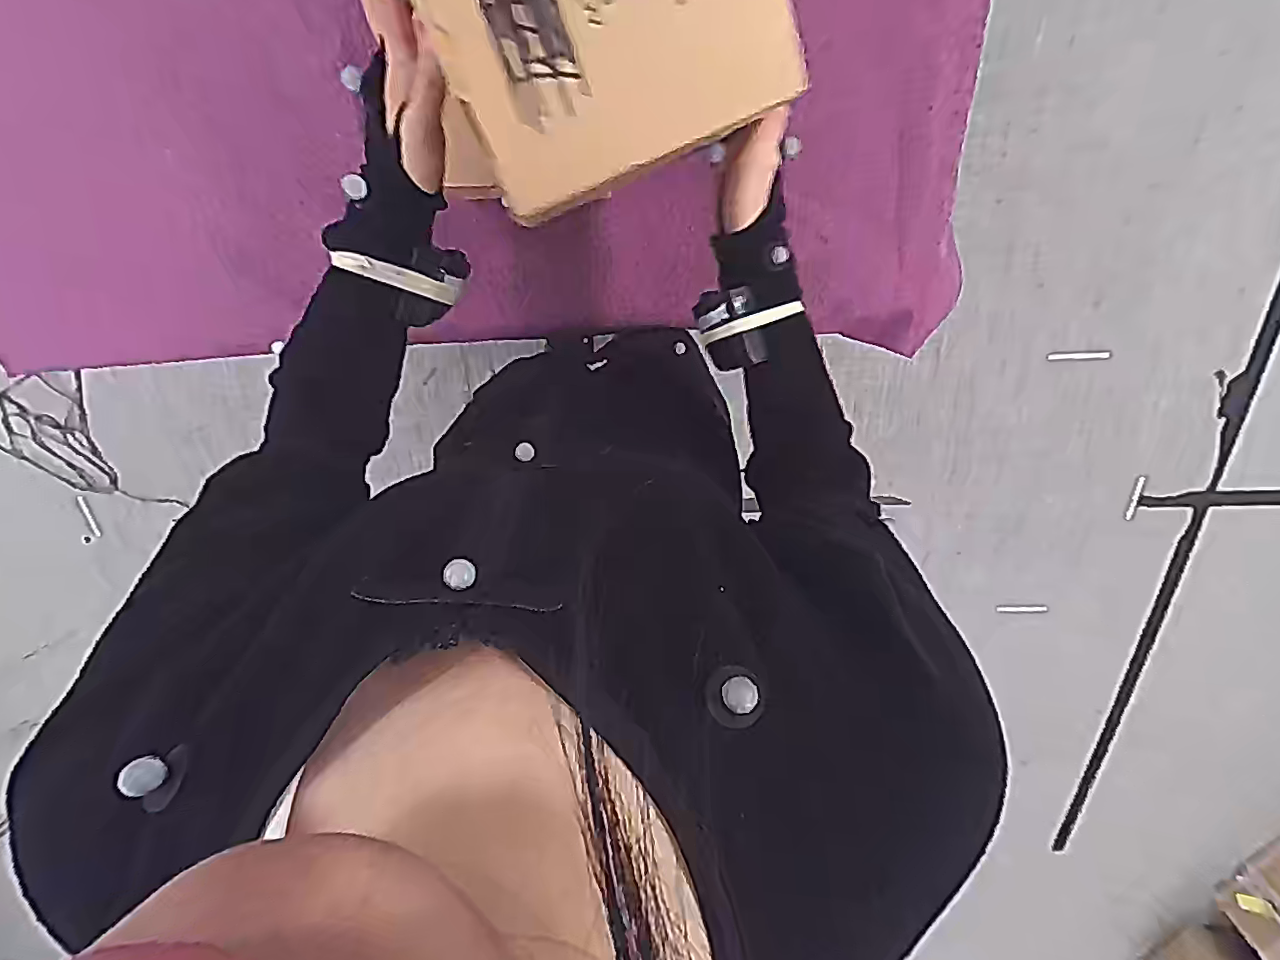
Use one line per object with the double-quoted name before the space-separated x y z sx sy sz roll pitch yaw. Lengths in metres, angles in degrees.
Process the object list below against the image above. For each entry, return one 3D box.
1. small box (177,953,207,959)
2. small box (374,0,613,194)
"small box" -1.266 1.448 1.480 0.179 0.176 0.168 -41 107 18
"small box" -0.121 -0.370 0.514 0.179 0.176 0.168 0 115 1
